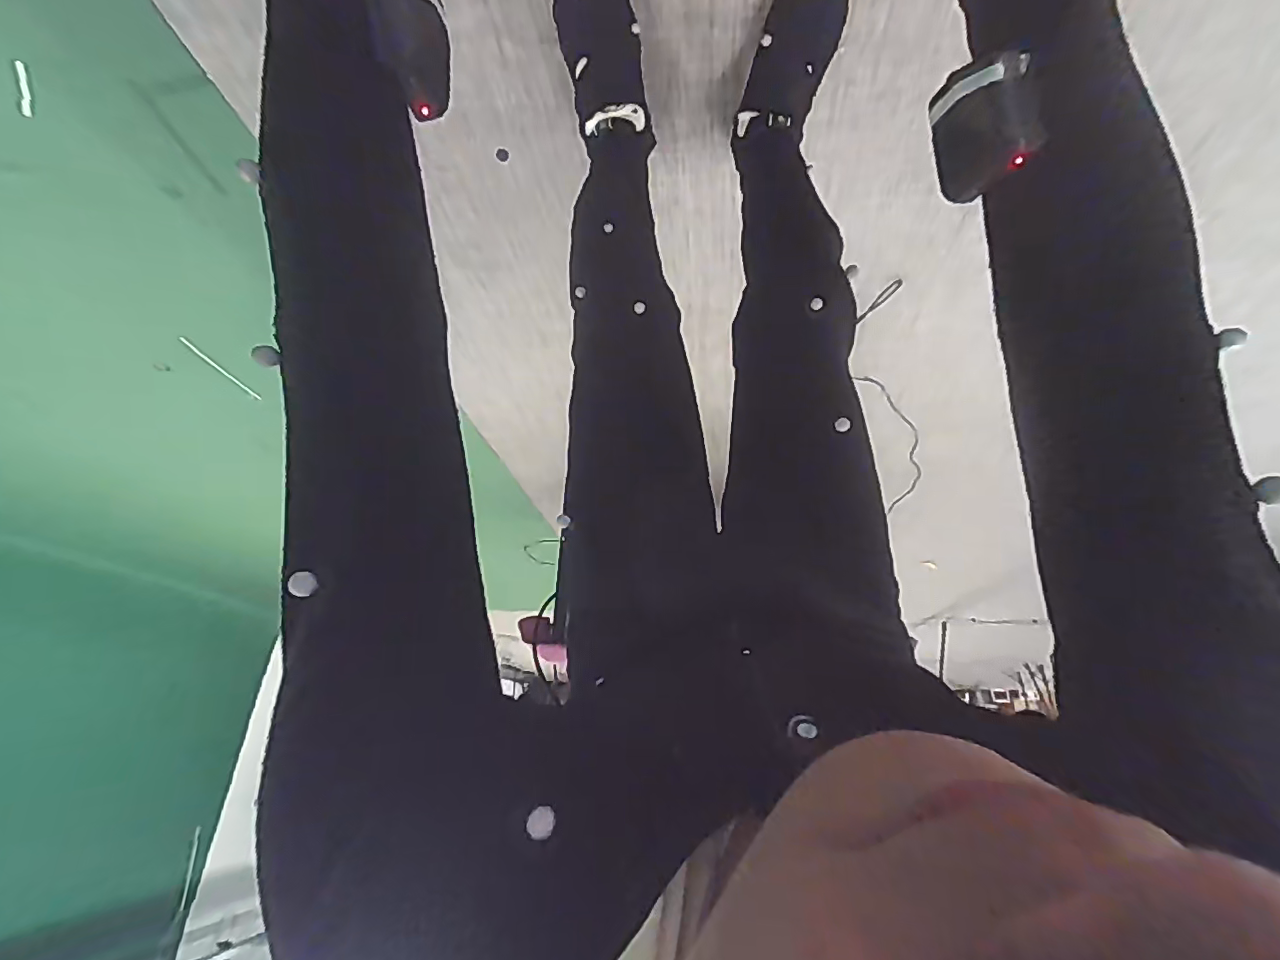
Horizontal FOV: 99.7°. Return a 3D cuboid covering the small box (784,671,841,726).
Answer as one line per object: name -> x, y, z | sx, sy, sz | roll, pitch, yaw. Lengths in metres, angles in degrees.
small box -> 0.604, 0.777, 1.913 | 0.168, 0.176, 0.179 | -2, 153, 9

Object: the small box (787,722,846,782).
small box -> 0.596, 0.924, 1.843 | 0.168, 0.176, 0.179 | -2, 153, 10
